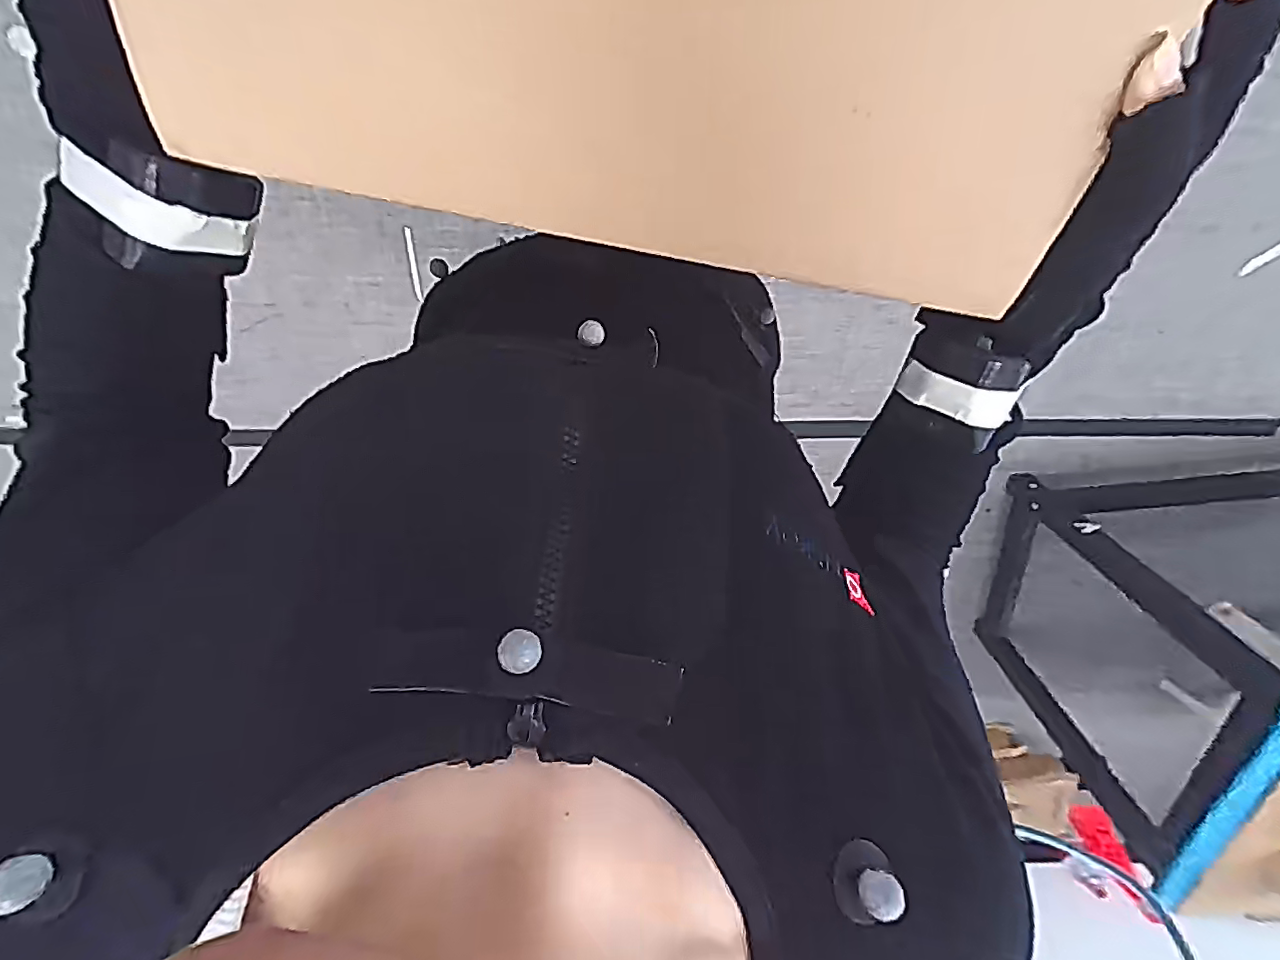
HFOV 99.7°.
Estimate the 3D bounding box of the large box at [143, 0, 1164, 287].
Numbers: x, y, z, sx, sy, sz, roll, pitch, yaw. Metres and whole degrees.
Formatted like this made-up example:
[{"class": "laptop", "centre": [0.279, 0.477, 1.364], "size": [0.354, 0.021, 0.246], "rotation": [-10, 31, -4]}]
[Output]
[{"class": "large box", "centre": [0.019, -0.337, 0.279], "size": [0.408, 0.320, 0.320], "rotation": [9, 130, -5]}]
